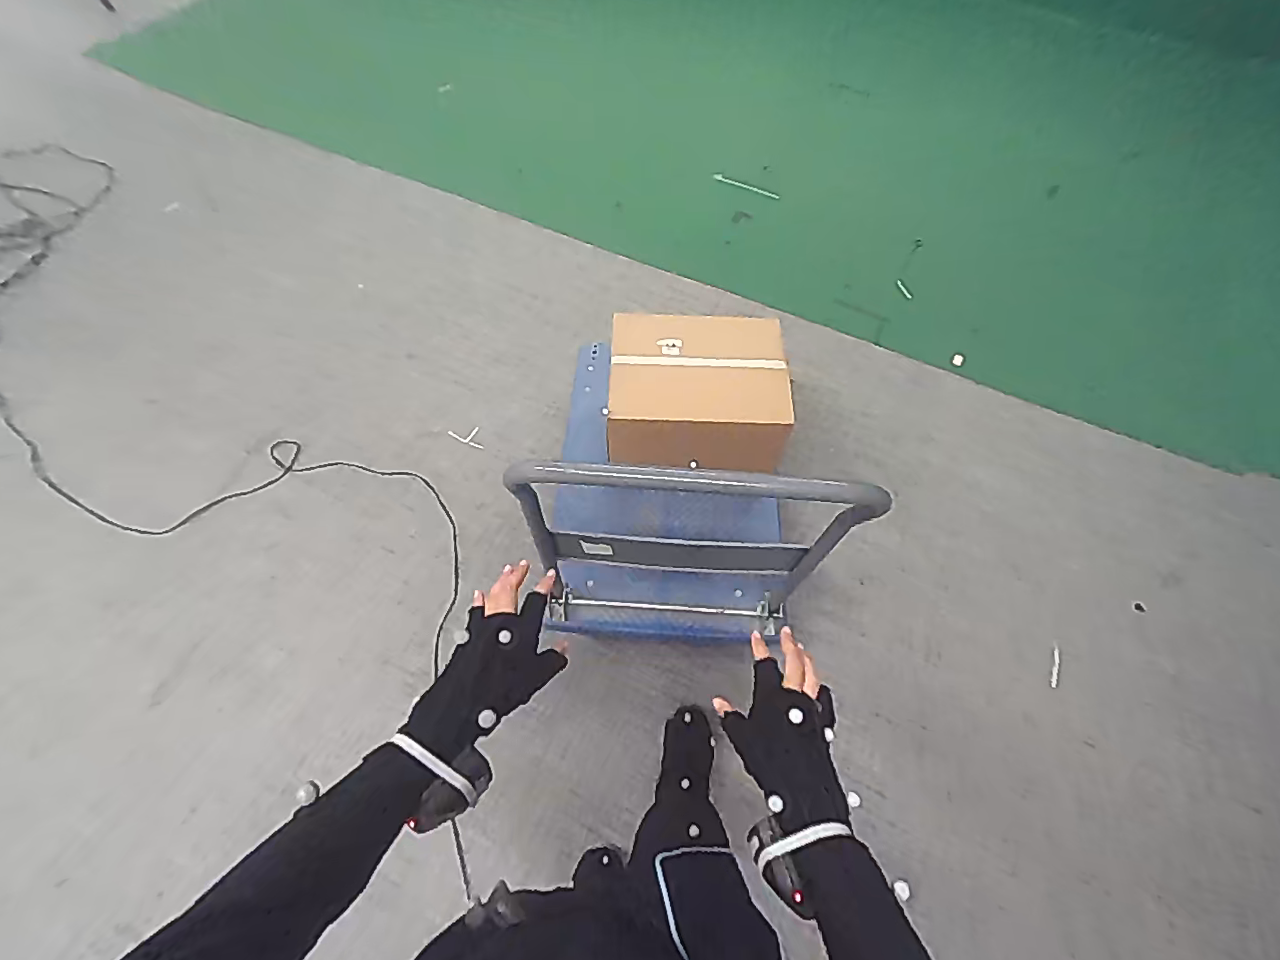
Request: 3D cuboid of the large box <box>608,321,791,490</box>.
[{"bbox_3d":[0.132,-0.179,1.364,0.408,0.320,0.320,1,60,1],"label":"large box"}]
